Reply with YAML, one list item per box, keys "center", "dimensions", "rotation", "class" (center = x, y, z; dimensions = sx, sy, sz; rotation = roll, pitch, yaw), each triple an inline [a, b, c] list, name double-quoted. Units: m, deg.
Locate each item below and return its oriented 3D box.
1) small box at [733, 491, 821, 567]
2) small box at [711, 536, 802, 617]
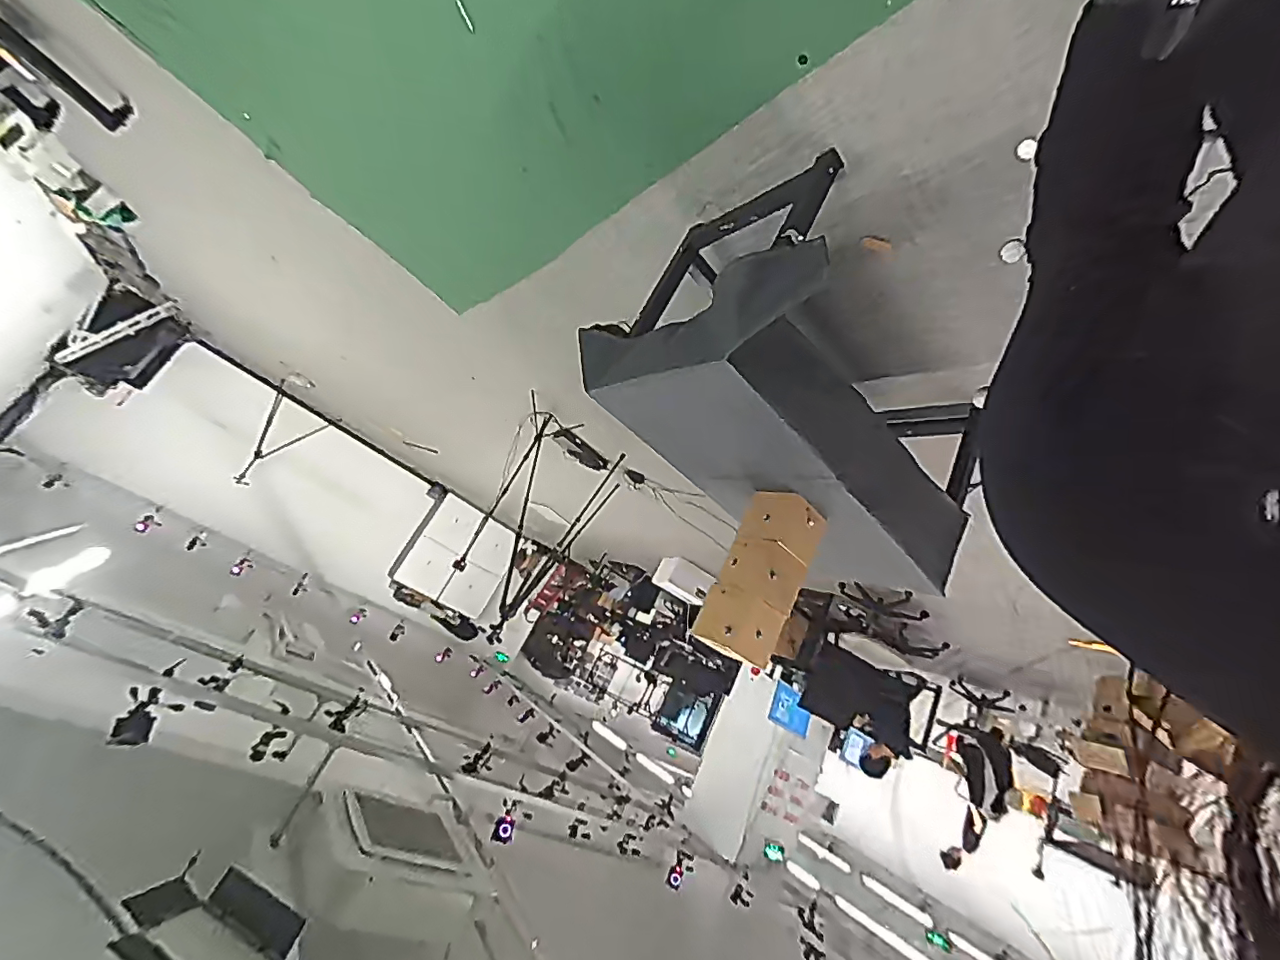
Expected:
- center: [0.426, 0.145, 1.670]
  dimensions: [0.168, 0.176, 0.179]
  rotation: [39, 158, -31]
  class: "small box"
- center: [0.353, 0.284, 1.624]
  dimensions: [0.179, 0.176, 0.168]
  rotation: [38, 160, -29]
  class: "small box"
